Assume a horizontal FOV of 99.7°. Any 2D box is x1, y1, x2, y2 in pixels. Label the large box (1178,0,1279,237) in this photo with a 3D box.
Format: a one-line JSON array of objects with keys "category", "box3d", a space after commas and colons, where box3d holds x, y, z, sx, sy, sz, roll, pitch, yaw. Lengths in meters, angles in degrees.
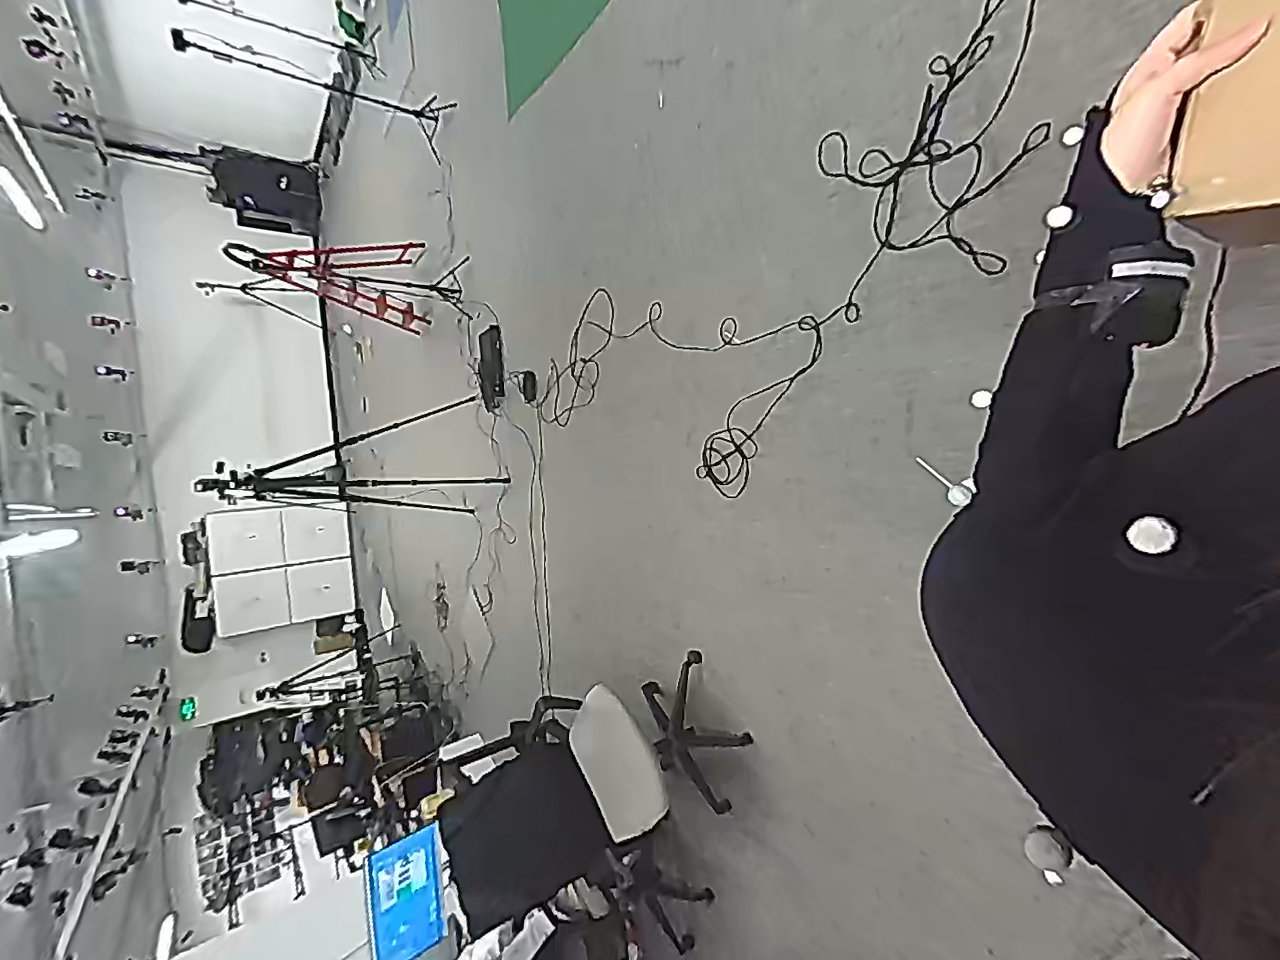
[{"category": "large box", "box3d": [0.630, -0.335, 0.291, 0.408, 0.320, 0.320, 18, 114, 52]}]
